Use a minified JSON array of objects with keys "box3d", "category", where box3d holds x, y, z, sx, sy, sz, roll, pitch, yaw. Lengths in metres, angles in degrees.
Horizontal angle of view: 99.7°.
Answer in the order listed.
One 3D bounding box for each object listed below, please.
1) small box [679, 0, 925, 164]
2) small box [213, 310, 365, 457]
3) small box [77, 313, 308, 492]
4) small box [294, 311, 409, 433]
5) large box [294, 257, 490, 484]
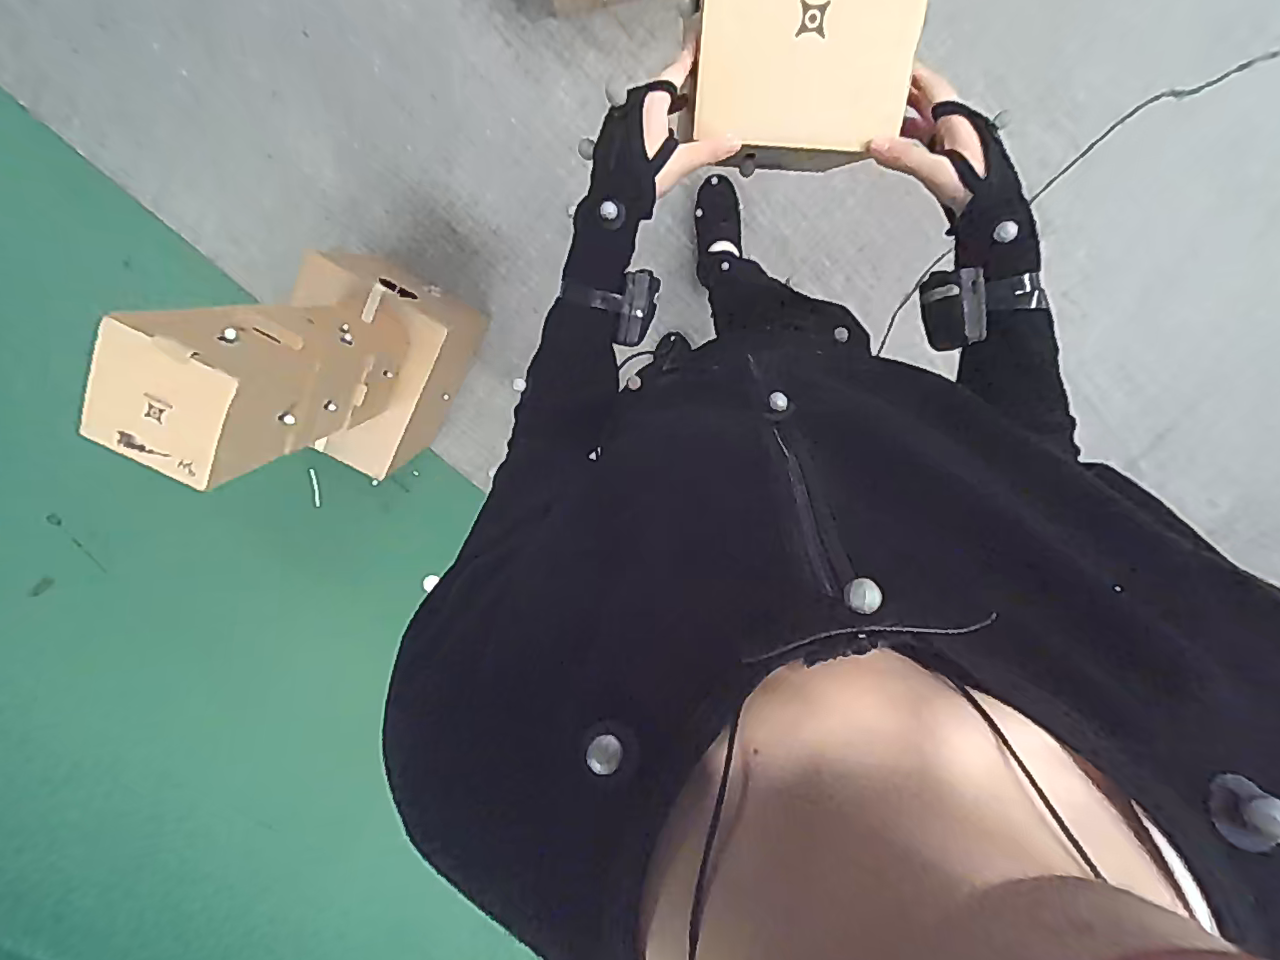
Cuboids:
[{"box3d":[0.124,-0.381,0.462,0.168,0.176,0.179,2,114,-2],"category":"small box"},{"box3d":[-0.597,-0.171,0.910,0.168,0.176,0.179,28,108,-8],"category":"small box"},{"box3d":[-0.605,-0.116,0.755,0.168,0.176,0.179,29,106,-8],"category":"small box"},{"box3d":[-0.591,-0.221,1.065,0.179,0.176,0.168,30,107,-8],"category":"small box"},{"box3d":[-0.615,-0.273,1.307,0.320,0.320,0.408,29,109,-7],"category":"large box"}]
